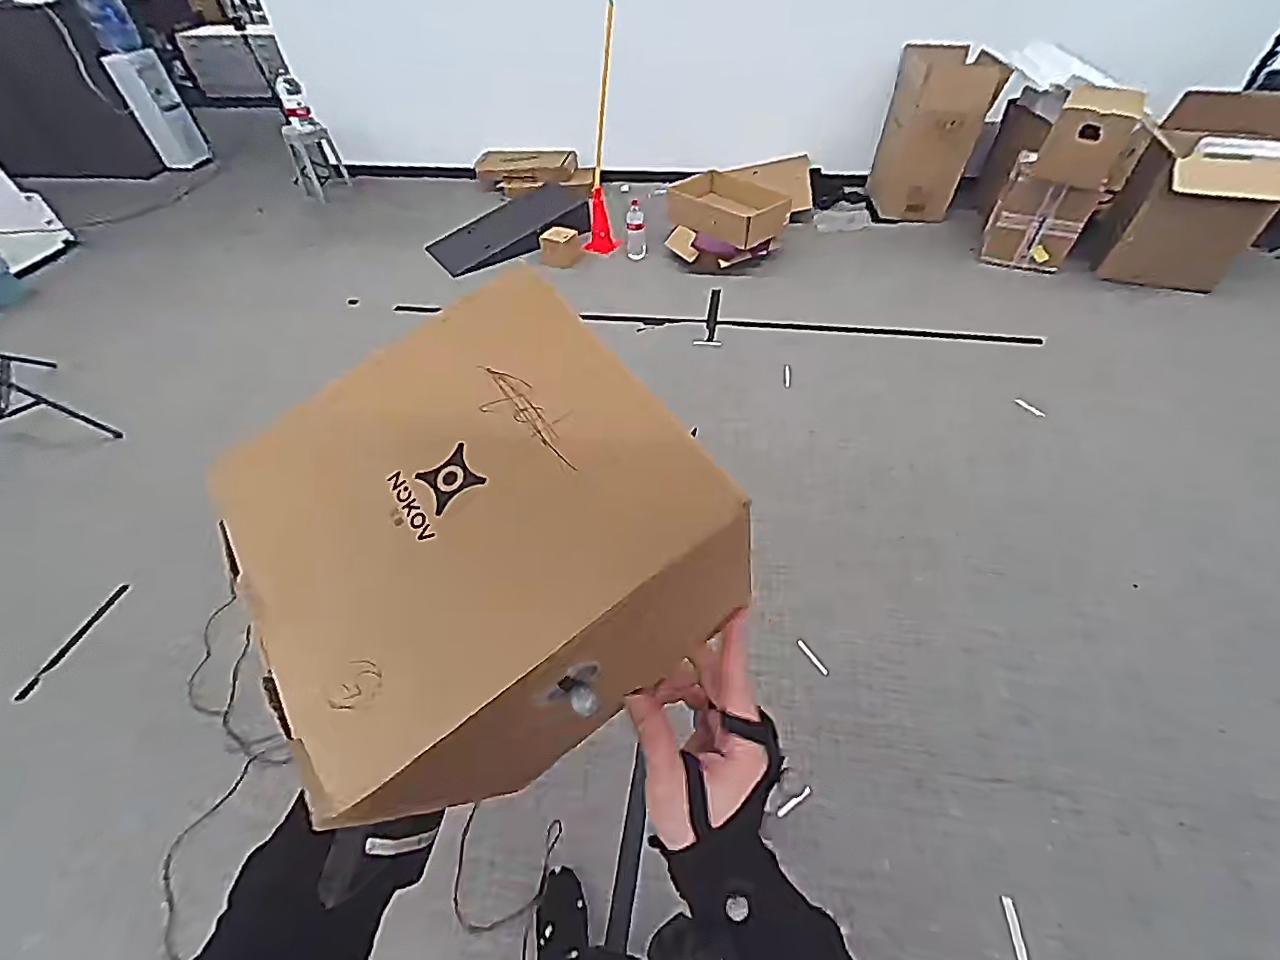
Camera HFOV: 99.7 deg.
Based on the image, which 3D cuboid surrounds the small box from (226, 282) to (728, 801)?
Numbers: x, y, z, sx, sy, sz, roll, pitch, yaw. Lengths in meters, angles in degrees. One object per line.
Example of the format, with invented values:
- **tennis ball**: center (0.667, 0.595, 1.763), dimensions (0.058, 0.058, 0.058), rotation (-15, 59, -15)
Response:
- **small box**: center (-0.065, 0.039, 0.299), dimensions (0.179, 0.176, 0.168), rotation (-38, 64, -7)
